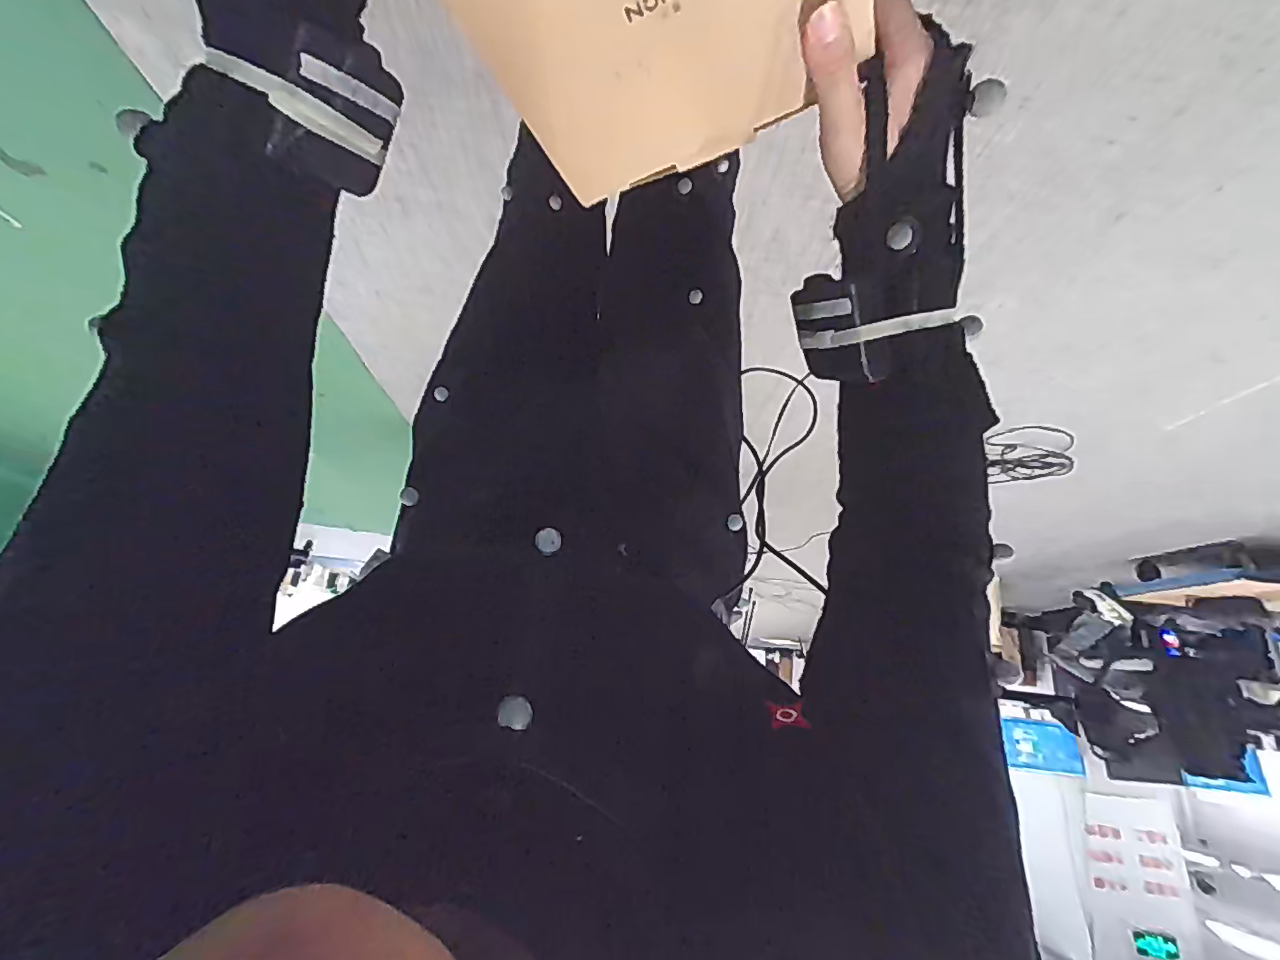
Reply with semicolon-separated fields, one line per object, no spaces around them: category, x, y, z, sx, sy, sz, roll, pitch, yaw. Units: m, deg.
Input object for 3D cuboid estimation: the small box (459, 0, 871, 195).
small box;0.003;-0.286;0.251;0.168;0.176;0.179;-13;156;20
